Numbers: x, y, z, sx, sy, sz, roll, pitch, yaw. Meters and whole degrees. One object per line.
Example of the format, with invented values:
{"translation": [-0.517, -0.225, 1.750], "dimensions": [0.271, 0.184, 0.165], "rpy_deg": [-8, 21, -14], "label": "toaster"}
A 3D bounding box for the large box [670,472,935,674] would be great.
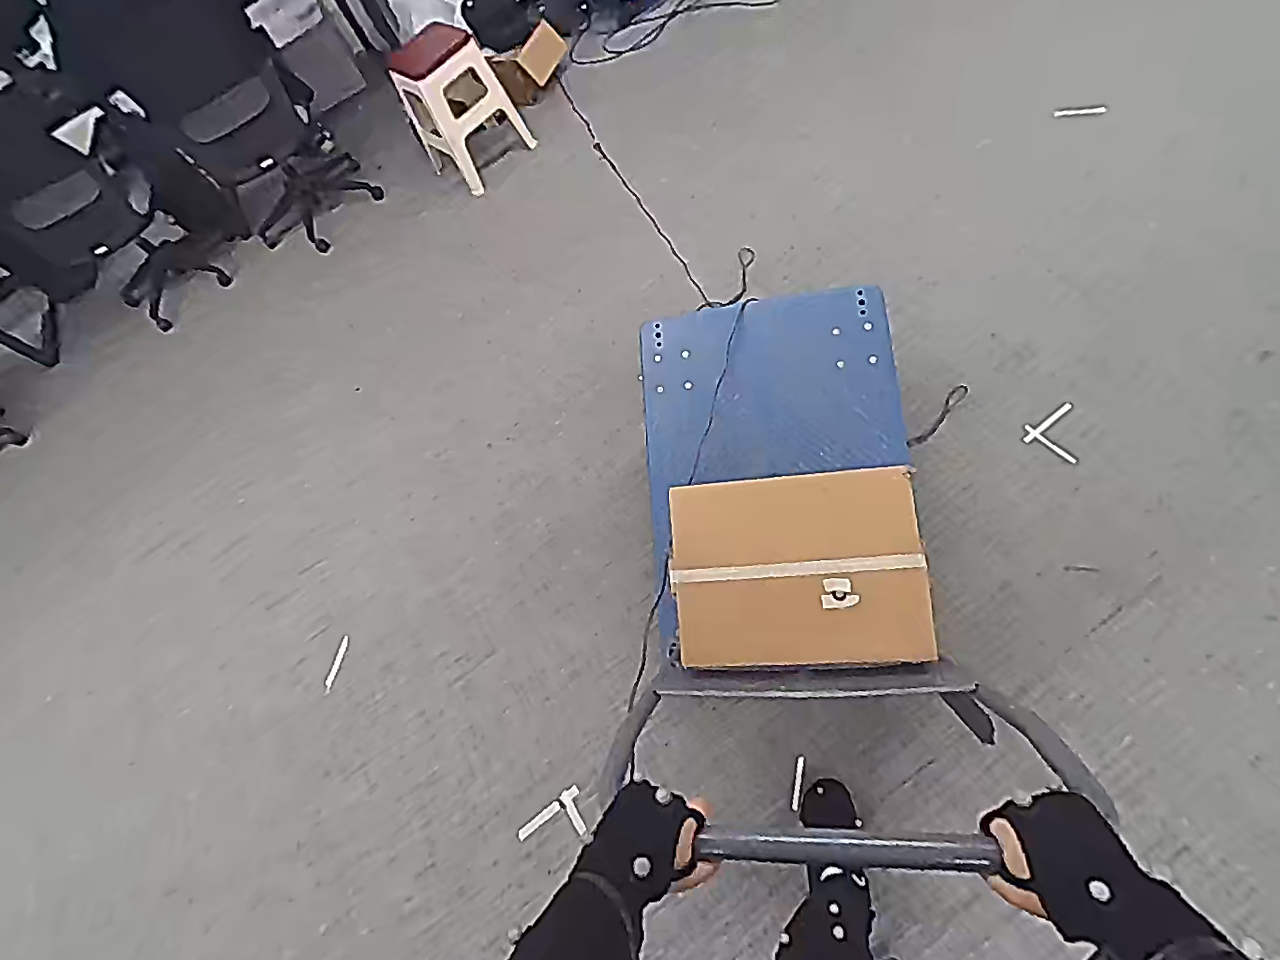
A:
{"translation": [0.285, 0.179, 1.042], "dimensions": [0.408, 0.320, 0.320], "rpy_deg": [-5, 81, 11], "label": "large box"}
